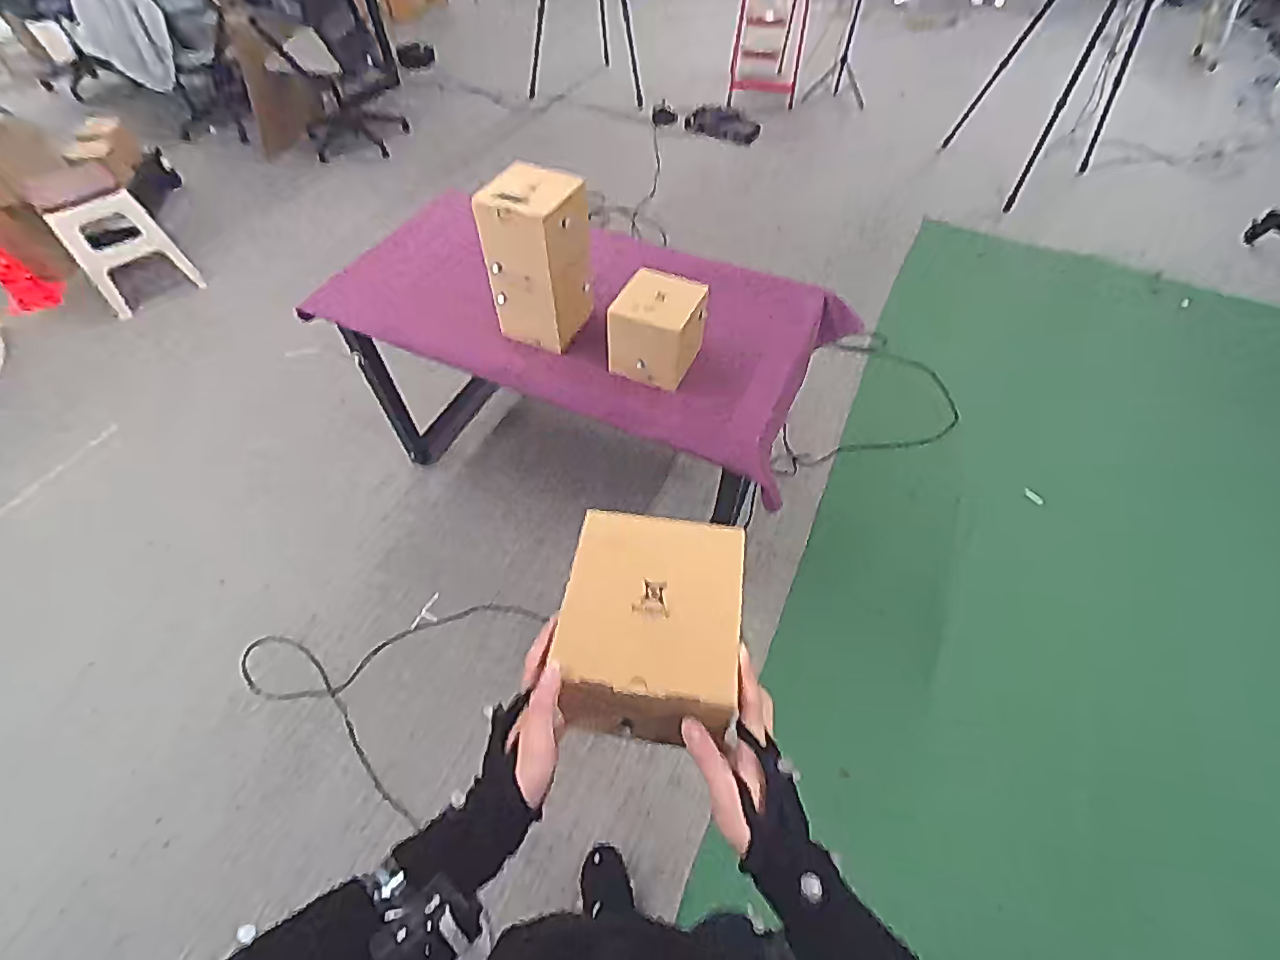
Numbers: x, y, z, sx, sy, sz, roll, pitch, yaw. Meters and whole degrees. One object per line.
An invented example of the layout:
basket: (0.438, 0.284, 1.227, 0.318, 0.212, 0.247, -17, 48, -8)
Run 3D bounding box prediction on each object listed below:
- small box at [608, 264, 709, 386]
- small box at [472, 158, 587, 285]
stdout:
small box: (0.039, -0.343, 1.207, 0.168, 0.176, 0.179, 21, 57, 14)
small box: (-0.220, -0.541, 1.140, 0.168, 0.176, 0.179, 21, 56, 13)
